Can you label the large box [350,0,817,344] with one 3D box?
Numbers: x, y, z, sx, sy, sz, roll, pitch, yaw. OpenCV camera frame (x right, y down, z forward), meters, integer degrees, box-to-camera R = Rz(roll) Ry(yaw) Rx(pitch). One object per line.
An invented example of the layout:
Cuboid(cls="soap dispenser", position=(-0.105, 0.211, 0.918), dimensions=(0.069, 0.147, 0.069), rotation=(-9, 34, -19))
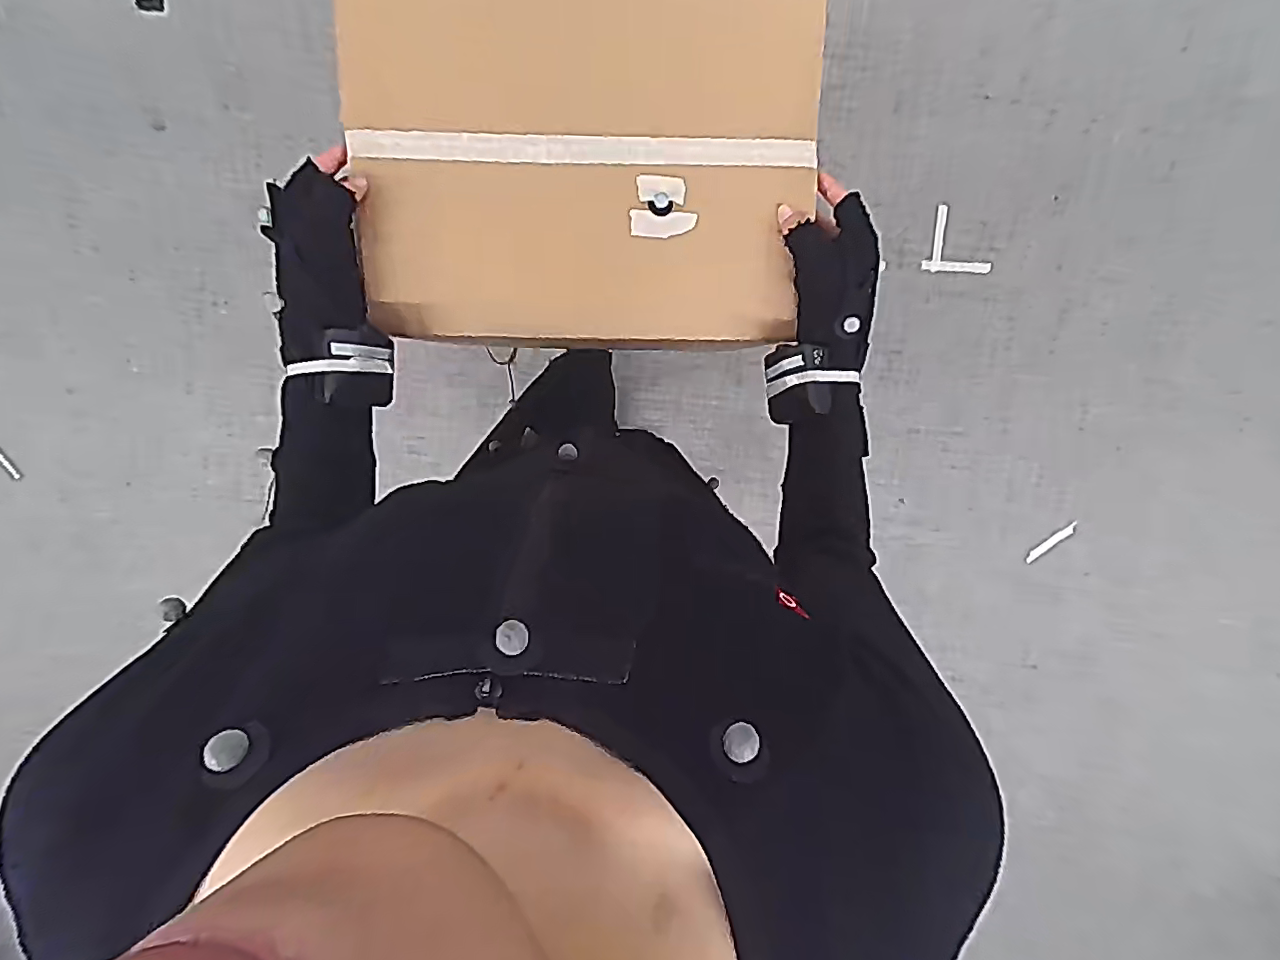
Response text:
Cuboid(cls="large box", position=(-0.053, -0.326, 0.627), dimensions=(0.408, 0.320, 0.320), rotation=(0, 102, -2))
